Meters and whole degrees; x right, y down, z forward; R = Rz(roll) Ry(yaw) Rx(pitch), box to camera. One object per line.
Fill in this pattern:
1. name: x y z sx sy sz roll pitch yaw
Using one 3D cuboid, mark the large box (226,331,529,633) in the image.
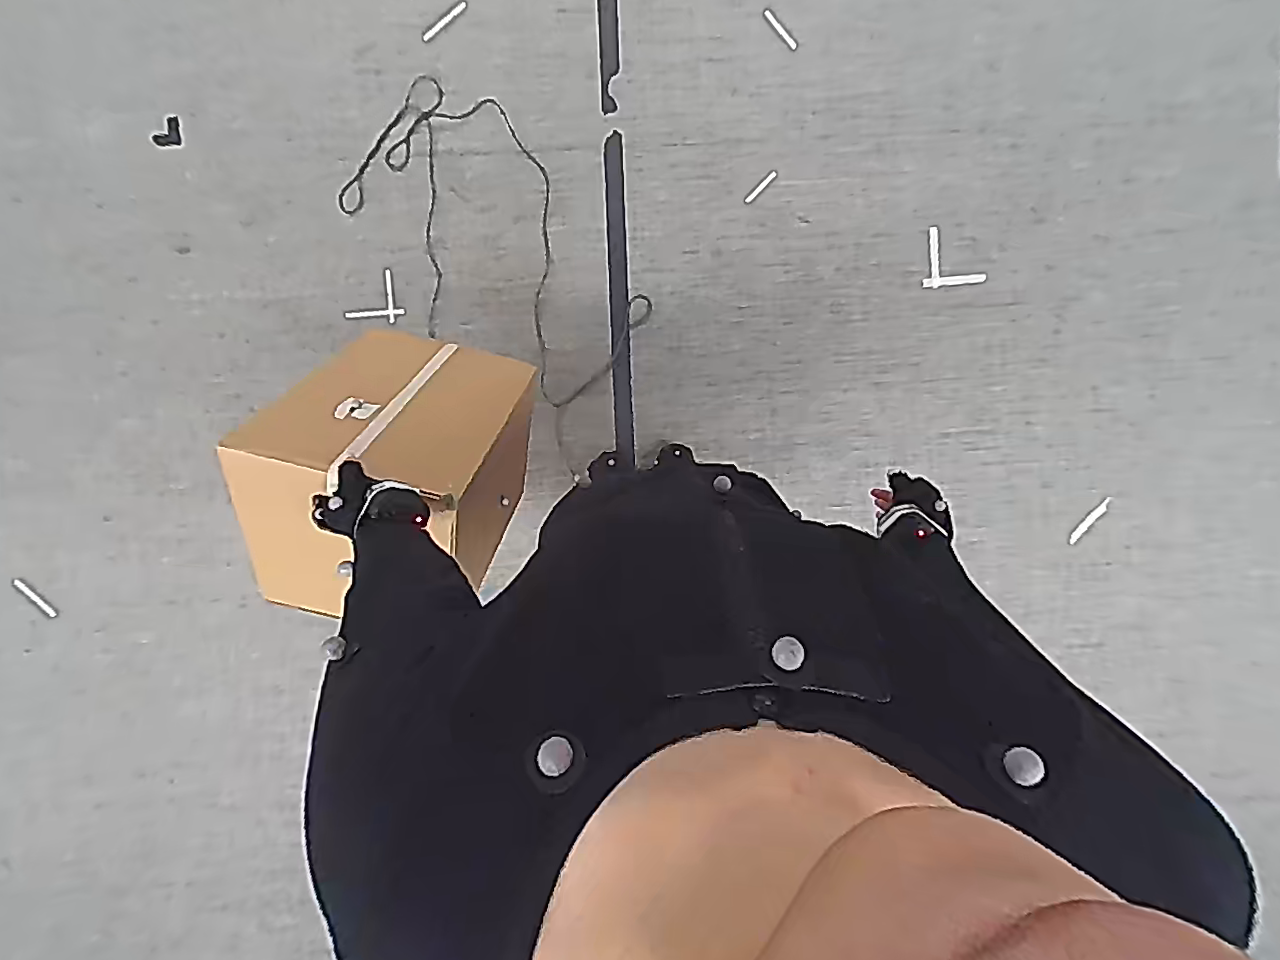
1. large box: -0.406 -0.009 0.953 0.320 0.408 0.320 13 128 -2
